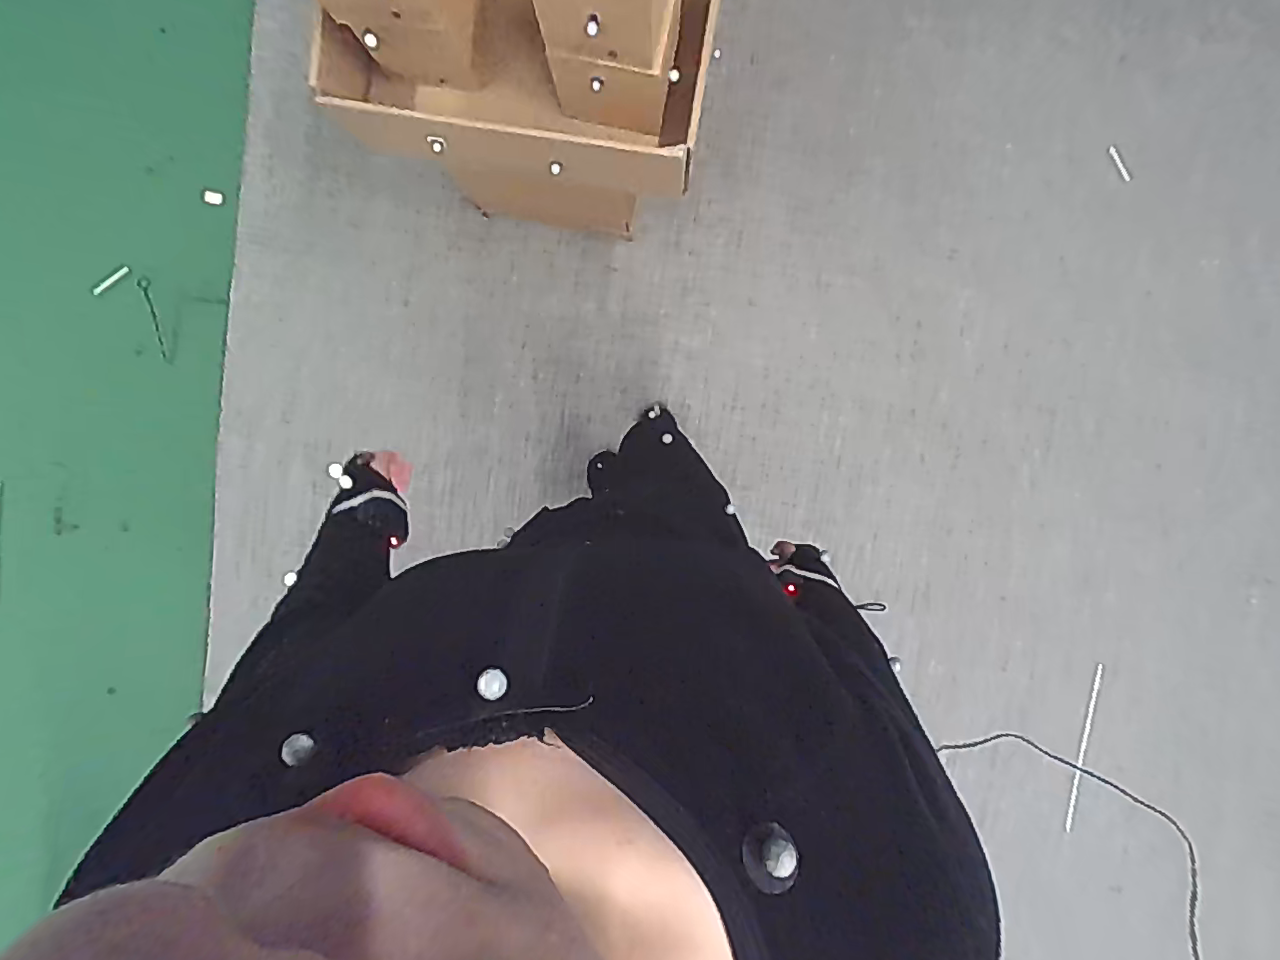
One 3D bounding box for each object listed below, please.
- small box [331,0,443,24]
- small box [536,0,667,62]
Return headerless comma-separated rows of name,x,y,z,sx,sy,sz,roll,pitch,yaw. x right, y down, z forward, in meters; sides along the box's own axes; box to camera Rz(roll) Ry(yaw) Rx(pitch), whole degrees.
small box,-0.364,-0.753,0.712,0.168,0.176,0.179,6,95,1
small box,-0.044,-0.697,0.703,0.168,0.176,0.179,12,96,0
